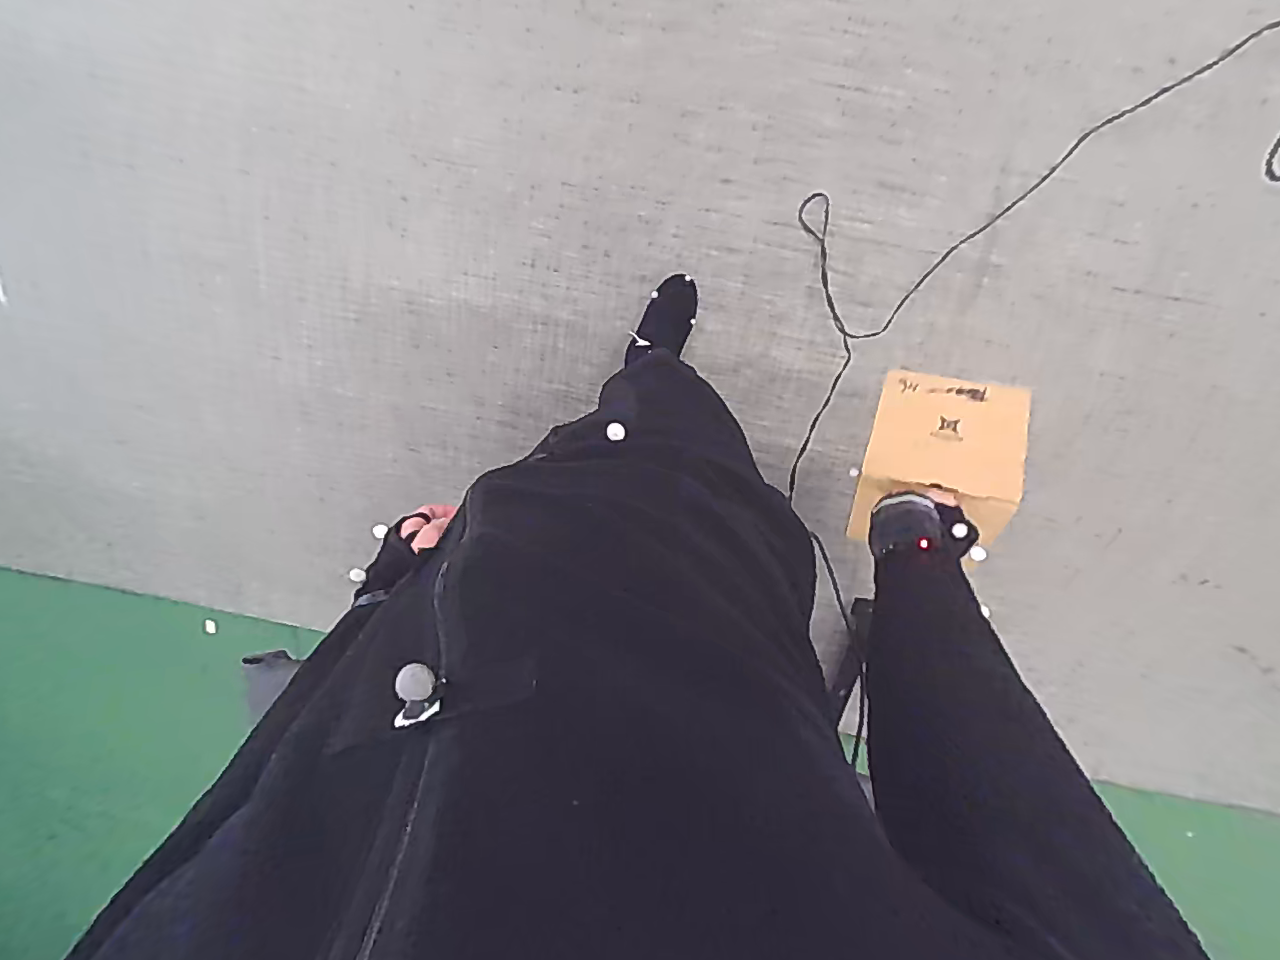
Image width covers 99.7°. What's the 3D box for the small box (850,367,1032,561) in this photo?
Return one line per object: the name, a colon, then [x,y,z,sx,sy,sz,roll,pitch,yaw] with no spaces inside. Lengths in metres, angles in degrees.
small box: [0.384,-0.017,0.711,0.168,0.179,0.176,15,151,23]
